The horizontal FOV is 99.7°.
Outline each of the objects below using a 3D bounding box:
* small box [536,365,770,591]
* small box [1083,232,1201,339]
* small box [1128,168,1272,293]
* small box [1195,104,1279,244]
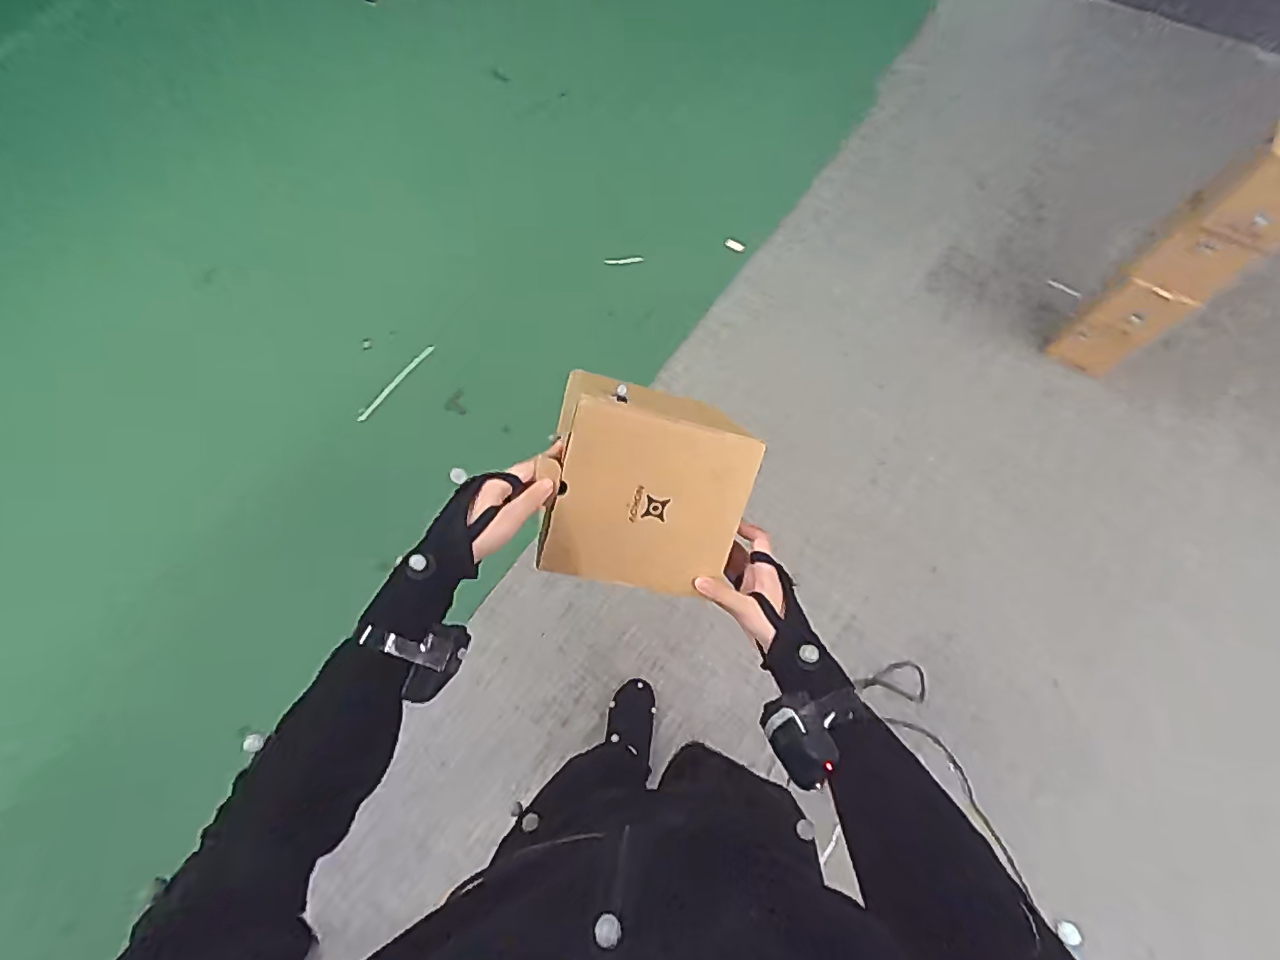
[{"bbox_3d":[0.002,-0.012,0.559,0.179,0.176,0.168,14,107,-11],"label":"small box"},{"bbox_3d":[1.301,-0.499,1.395,0.168,0.176,0.179,31,74,12],"label":"small box"},{"bbox_3d":[1.292,-0.565,1.244,0.179,0.176,0.168,31,74,12],"label":"small box"},{"bbox_3d":[1.290,-0.621,1.088,0.168,0.176,0.179,30,73,12],"label":"small box"}]
